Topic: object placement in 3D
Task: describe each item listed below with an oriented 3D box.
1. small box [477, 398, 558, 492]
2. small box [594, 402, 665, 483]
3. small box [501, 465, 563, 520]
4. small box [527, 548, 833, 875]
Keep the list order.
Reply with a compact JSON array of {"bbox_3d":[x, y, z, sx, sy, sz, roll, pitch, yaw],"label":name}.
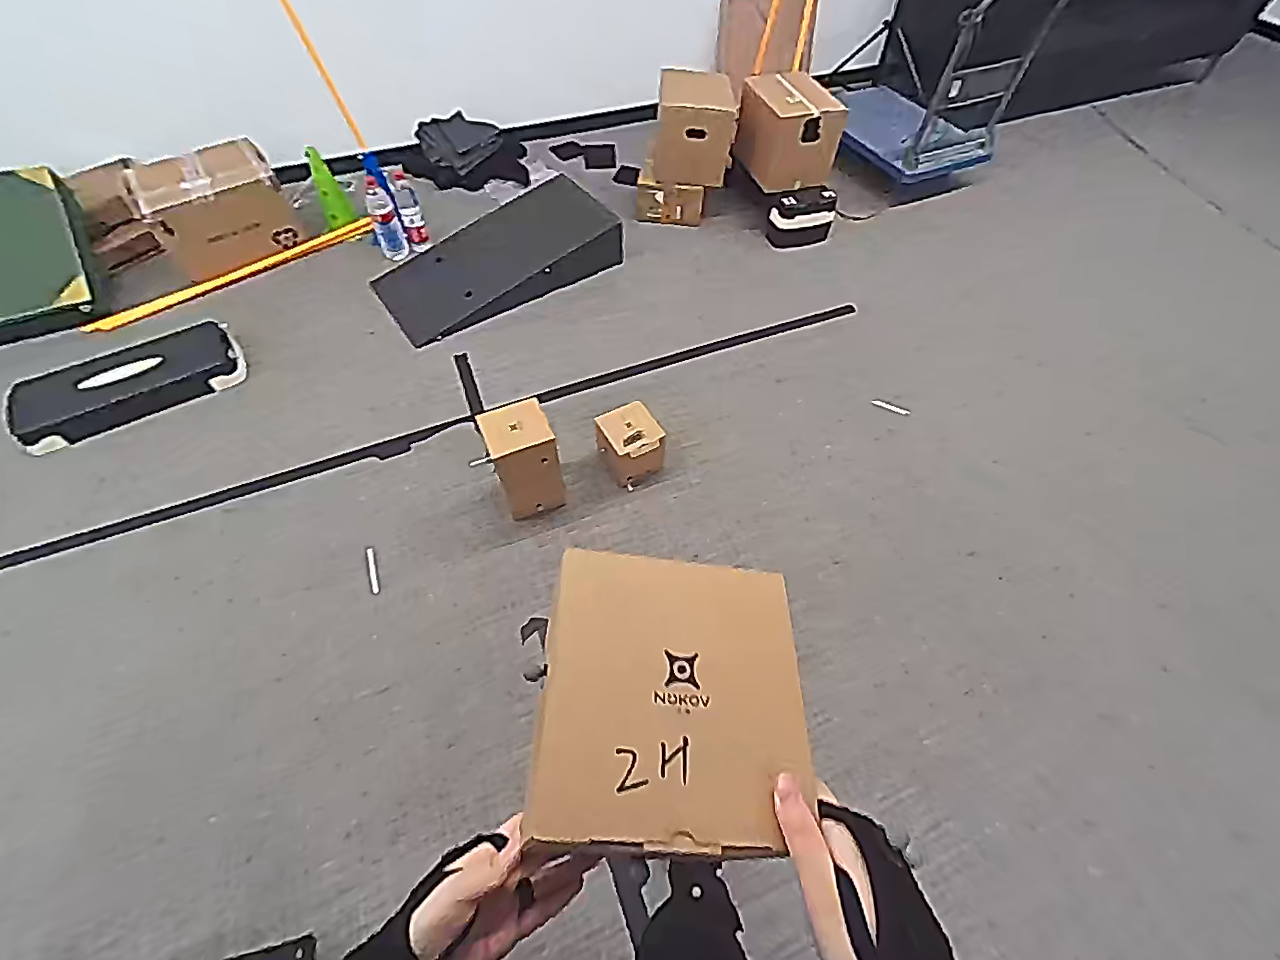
[{"bbox_3d":[-0.335,-0.095,1.509,0.179,0.176,0.168,-20,58,-14],"label":"small box"},{"bbox_3d":[-0.032,-0.113,1.730,0.168,0.176,0.179,-24,59,-17],"label":"small box"},{"bbox_3d":[-0.338,-0.005,1.646,0.179,0.176,0.168,-18,58,-14],"label":"small box"},{"bbox_3d":[0.013,0.175,0.396,0.168,0.176,0.179,9,53,-8],"label":"small box"}]
